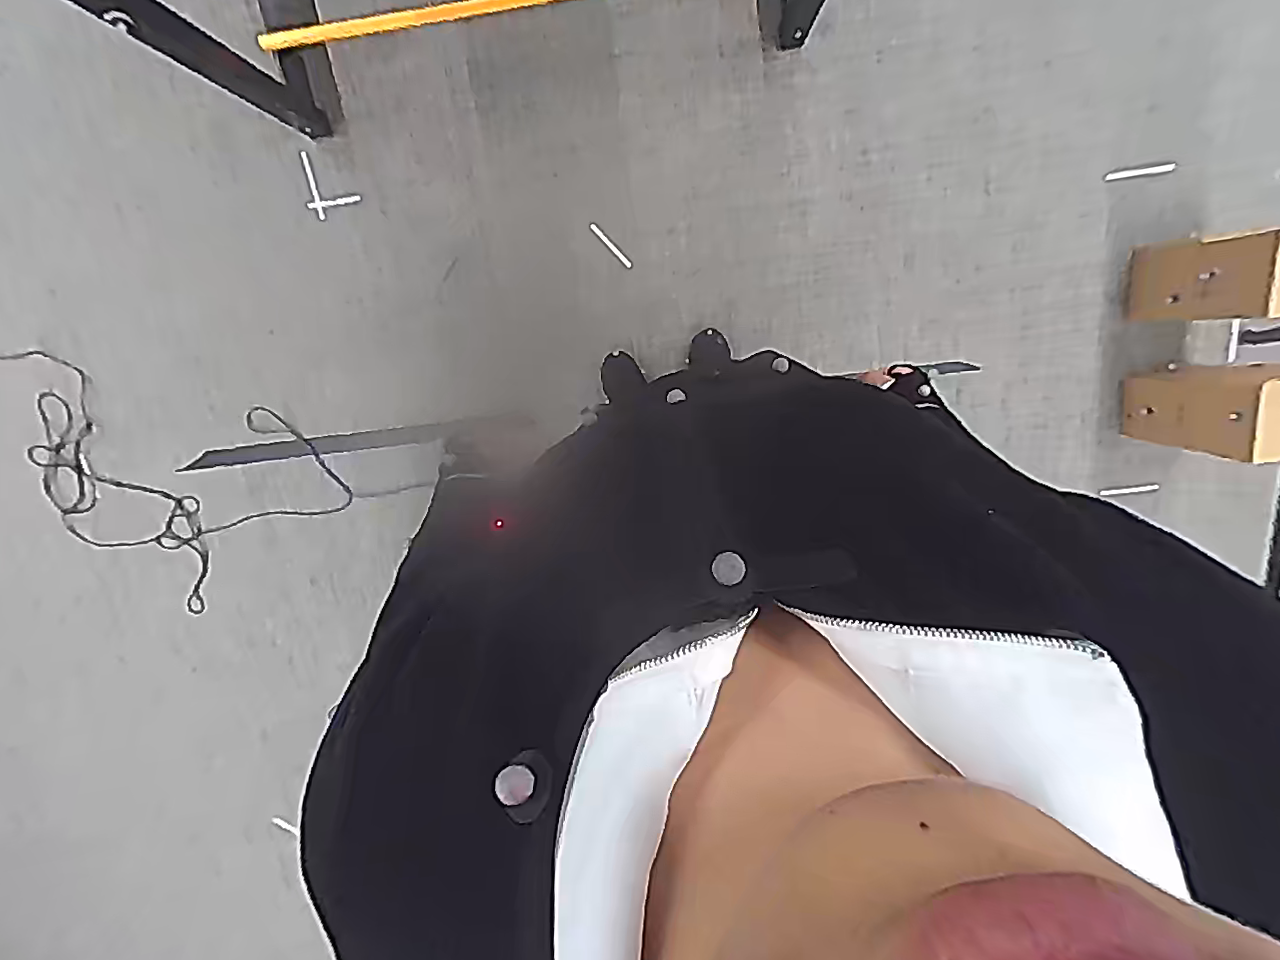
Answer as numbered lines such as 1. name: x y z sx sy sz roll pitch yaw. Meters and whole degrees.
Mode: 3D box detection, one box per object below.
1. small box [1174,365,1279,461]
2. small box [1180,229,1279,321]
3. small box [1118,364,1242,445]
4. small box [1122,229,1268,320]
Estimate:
1. small box: 1.339 -0.155 1.191 0.168 0.176 0.179 -10 105 4
2. small box: 1.294 -0.427 1.119 0.179 0.176 0.168 -7 104 5
3. small box: 1.349 -0.192 1.352 0.179 0.176 0.168 -10 105 5
4. small box: 1.294 -0.475 1.275 0.168 0.176 0.179 -6 105 3
